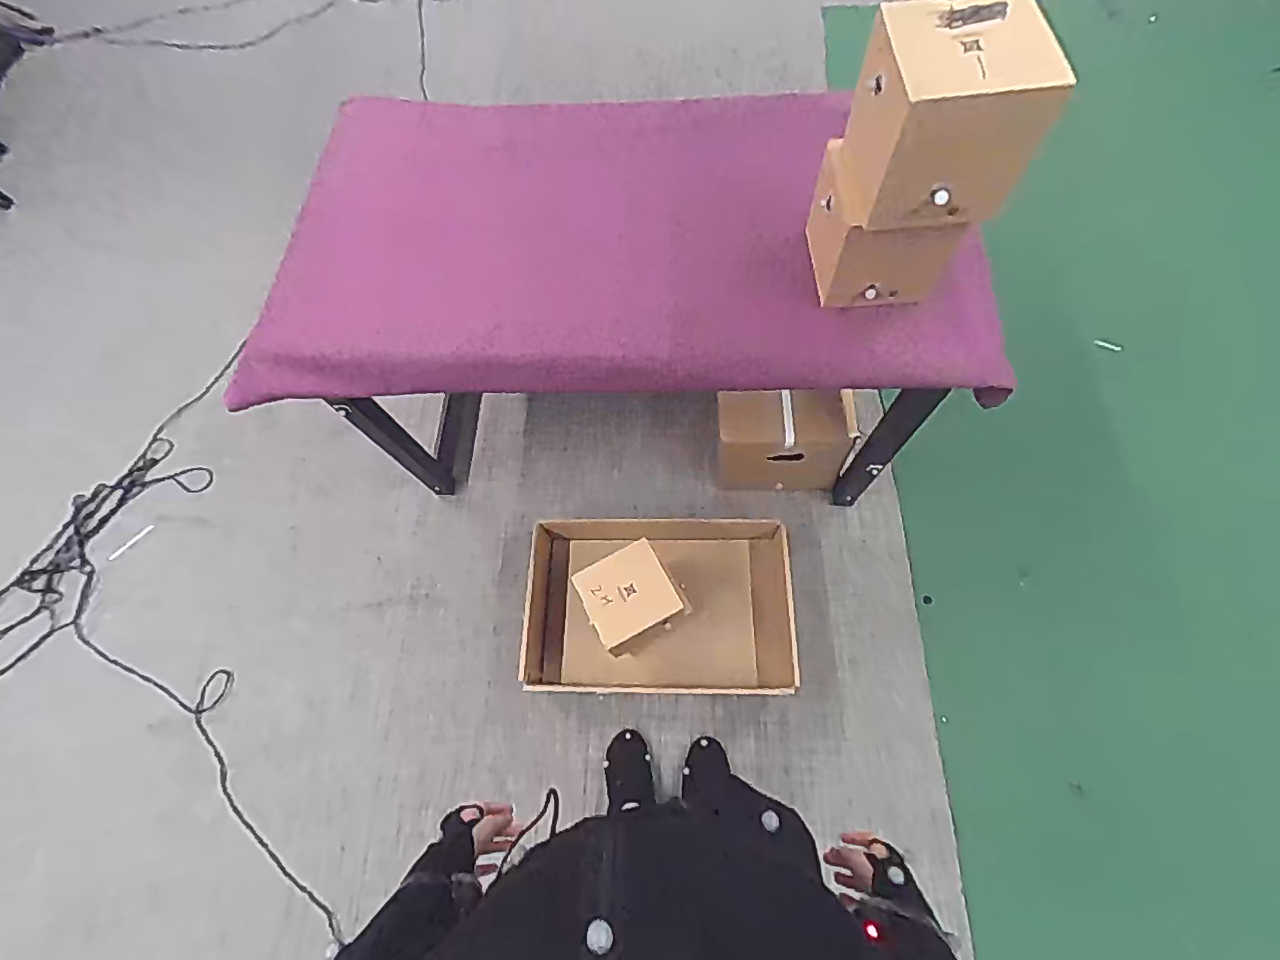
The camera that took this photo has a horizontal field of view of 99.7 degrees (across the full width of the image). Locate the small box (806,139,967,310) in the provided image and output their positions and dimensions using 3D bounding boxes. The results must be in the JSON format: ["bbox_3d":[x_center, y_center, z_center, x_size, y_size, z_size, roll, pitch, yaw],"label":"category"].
[{"bbox_3d":[0.355,-0.381,0.811,0.168,0.176,0.179,-3,66,5],"label":"small box"}]

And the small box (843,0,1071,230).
[{"bbox_3d":[0.358,-0.436,0.655,0.168,0.176,0.179,-3,66,5],"label":"small box"}]

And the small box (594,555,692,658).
[{"bbox_3d":[0.013,0.308,1.289,0.179,0.176,0.168,-29,68,-7],"label":"small box"}]
